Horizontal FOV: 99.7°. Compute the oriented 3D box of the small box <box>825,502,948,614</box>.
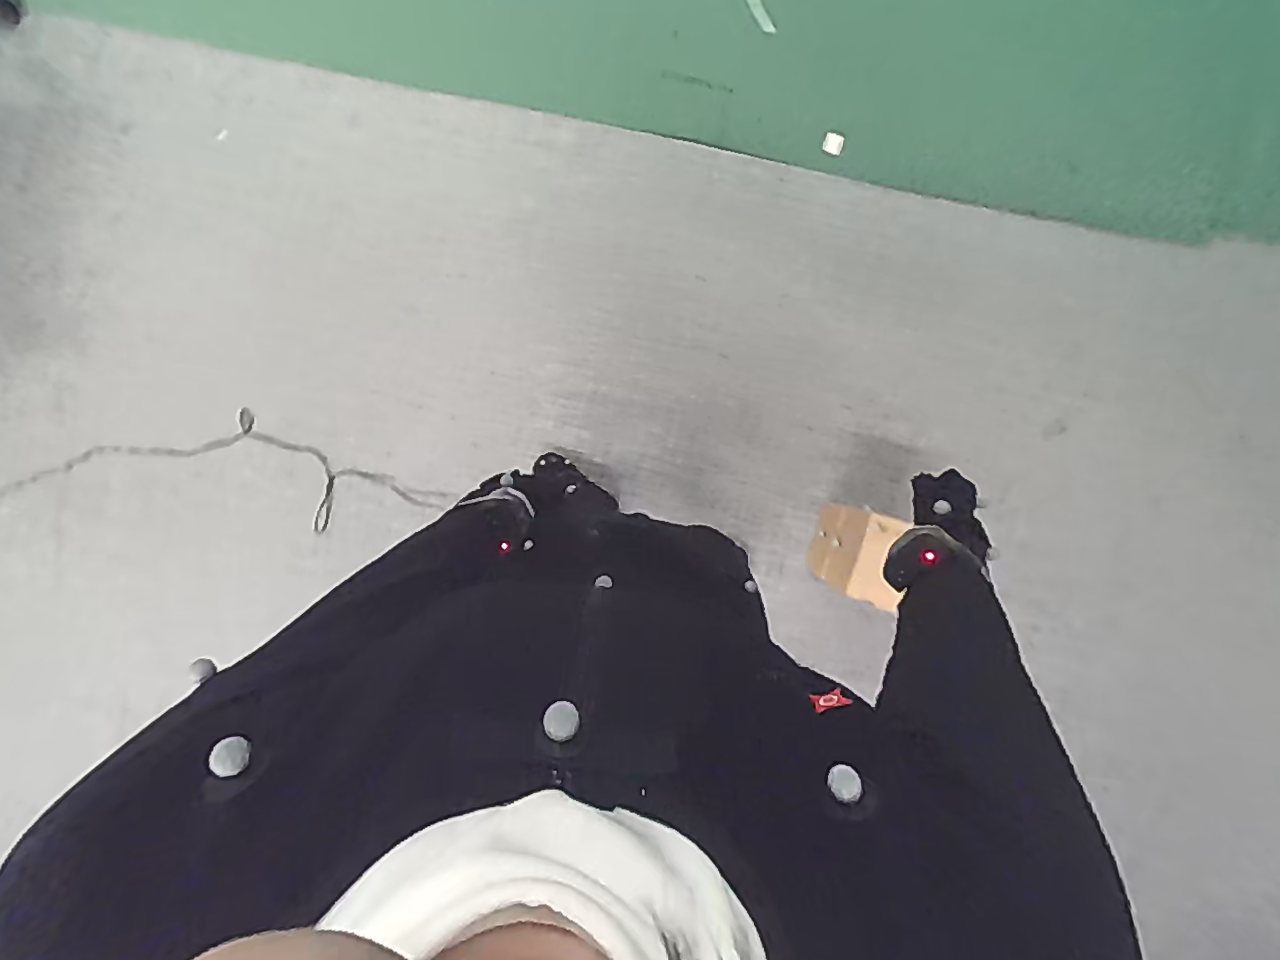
[{"bbox_3d":[0.510,0.157,1.151,0.168,0.176,0.179,18,95,4],"label":"small box"}]

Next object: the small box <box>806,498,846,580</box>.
[{"bbox_3d":[0.515,0.152,1.315,0.168,0.176,0.179,15,95,4],"label":"small box"}]
